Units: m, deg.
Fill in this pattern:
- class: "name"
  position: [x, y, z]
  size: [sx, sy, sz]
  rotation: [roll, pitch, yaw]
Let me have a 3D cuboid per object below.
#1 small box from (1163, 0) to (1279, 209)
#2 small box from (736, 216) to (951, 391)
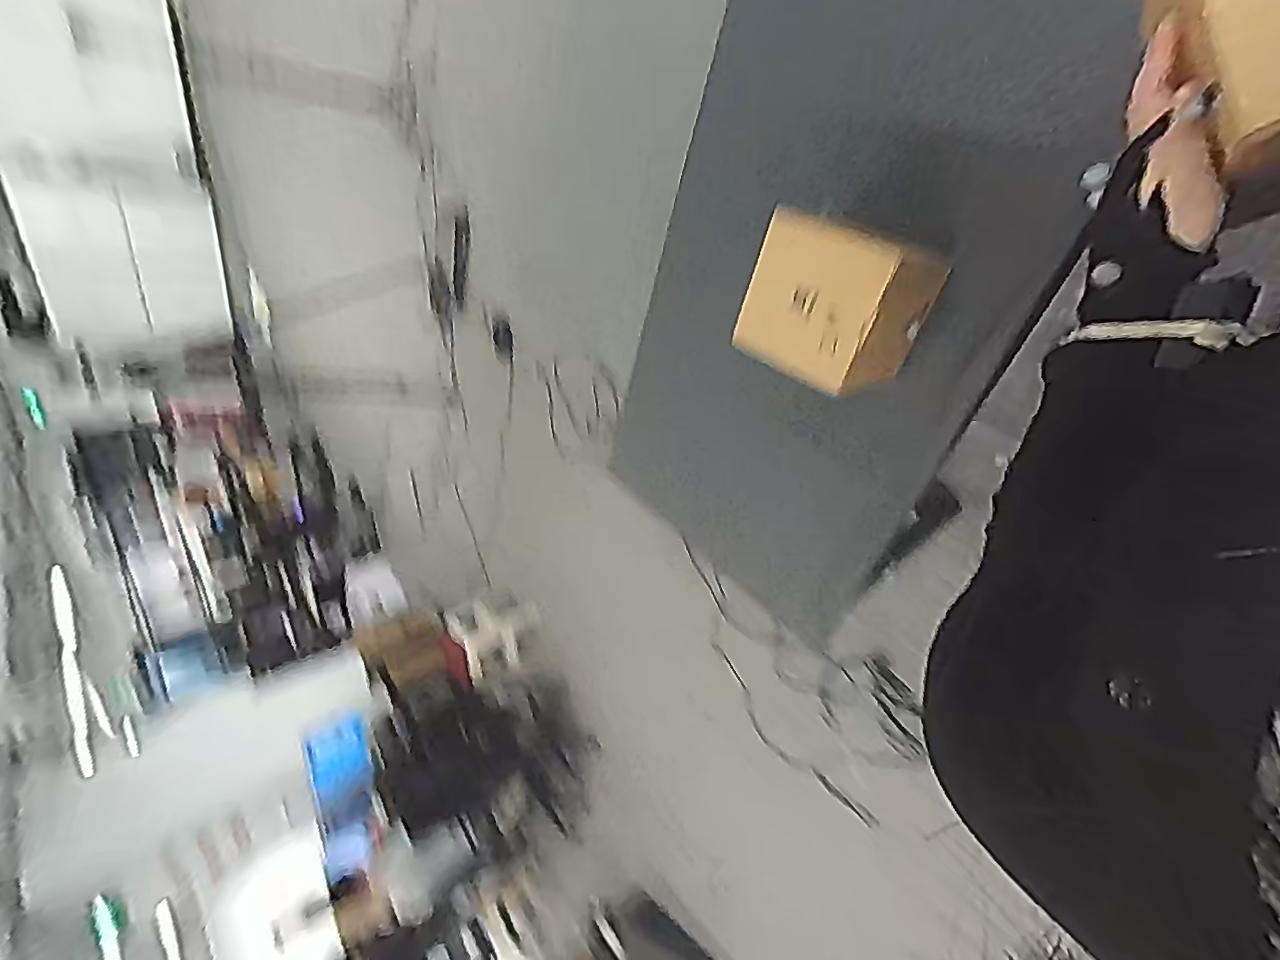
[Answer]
- class: "small box"
  position: [0.415, -0.287, 0.291]
  size: [0.168, 0.176, 0.179]
  rotation: [-15, 83, 42]
- class: "small box"
  position: [0.264, -0.233, 0.713]
  size: [0.179, 0.176, 0.168]
  rotation: [38, 129, 34]
